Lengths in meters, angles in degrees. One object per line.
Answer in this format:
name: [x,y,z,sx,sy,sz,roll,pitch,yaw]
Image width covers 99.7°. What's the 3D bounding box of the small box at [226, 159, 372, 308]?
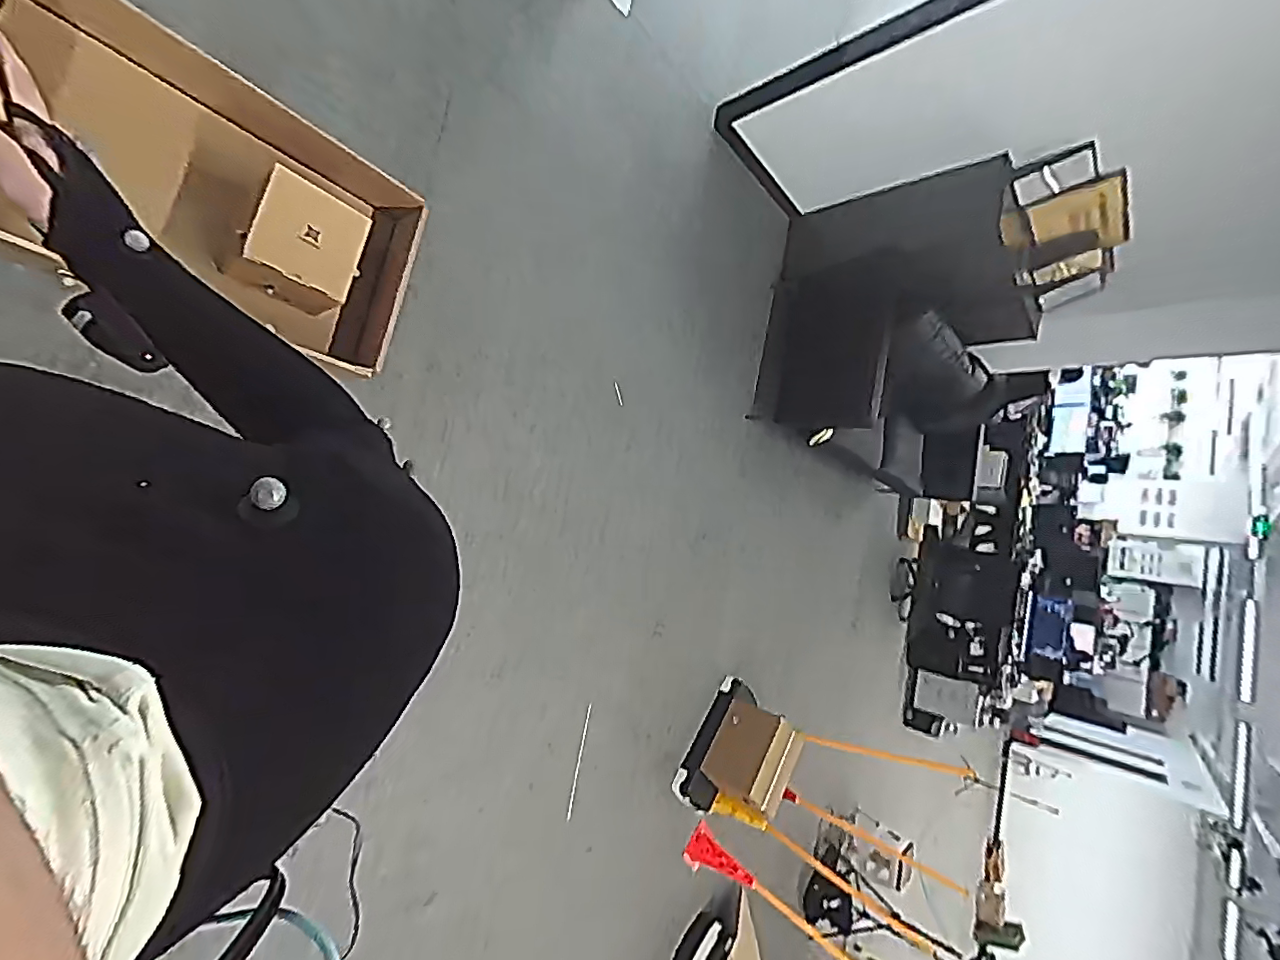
small box: [-0.636,-0.444,1.005,0.168,0.176,0.179,23,78,-46]
